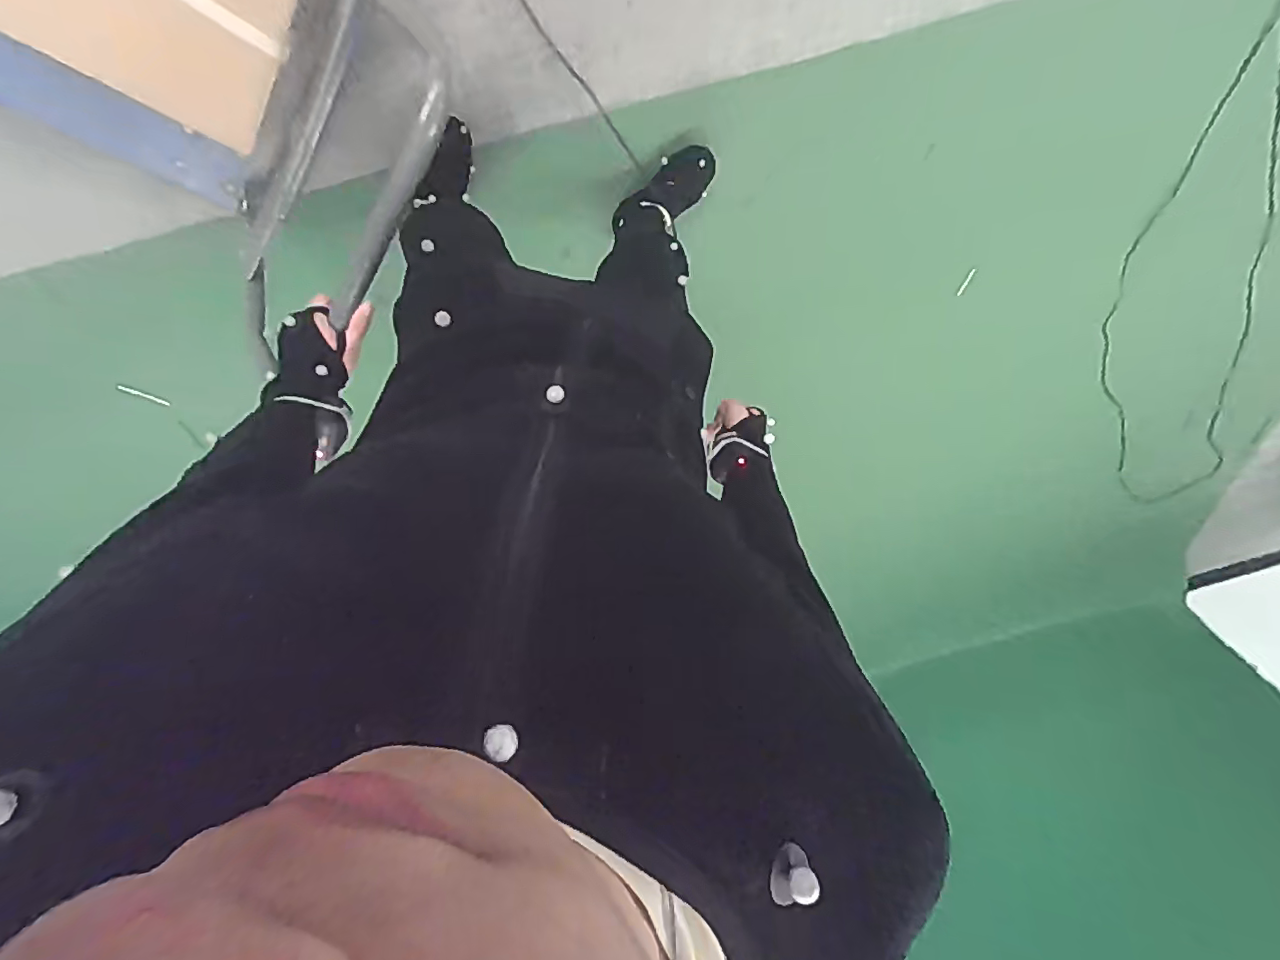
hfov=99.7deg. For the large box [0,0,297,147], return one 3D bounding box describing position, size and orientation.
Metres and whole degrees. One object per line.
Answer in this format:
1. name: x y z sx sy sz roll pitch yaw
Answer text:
1. large box: -0.692 -0.743 0.711 0.408 0.320 0.320 16 125 -40
